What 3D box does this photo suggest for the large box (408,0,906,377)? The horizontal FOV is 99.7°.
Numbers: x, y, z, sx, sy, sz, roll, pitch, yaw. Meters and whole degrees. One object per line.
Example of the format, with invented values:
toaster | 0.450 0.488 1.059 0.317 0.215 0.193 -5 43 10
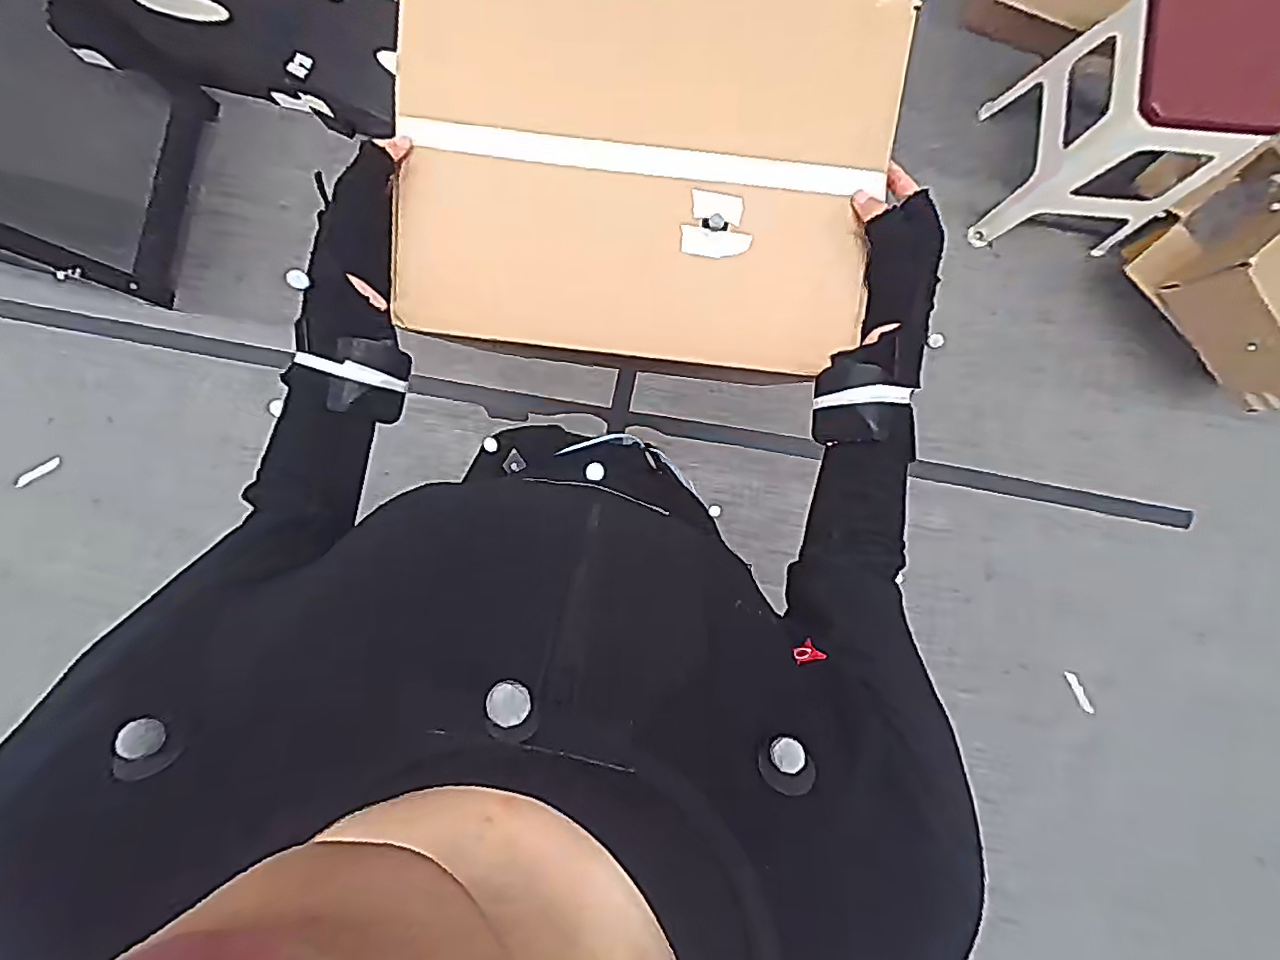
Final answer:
large box | 0.003 -0.294 0.607 0.408 0.320 0.320 7 100 -2
